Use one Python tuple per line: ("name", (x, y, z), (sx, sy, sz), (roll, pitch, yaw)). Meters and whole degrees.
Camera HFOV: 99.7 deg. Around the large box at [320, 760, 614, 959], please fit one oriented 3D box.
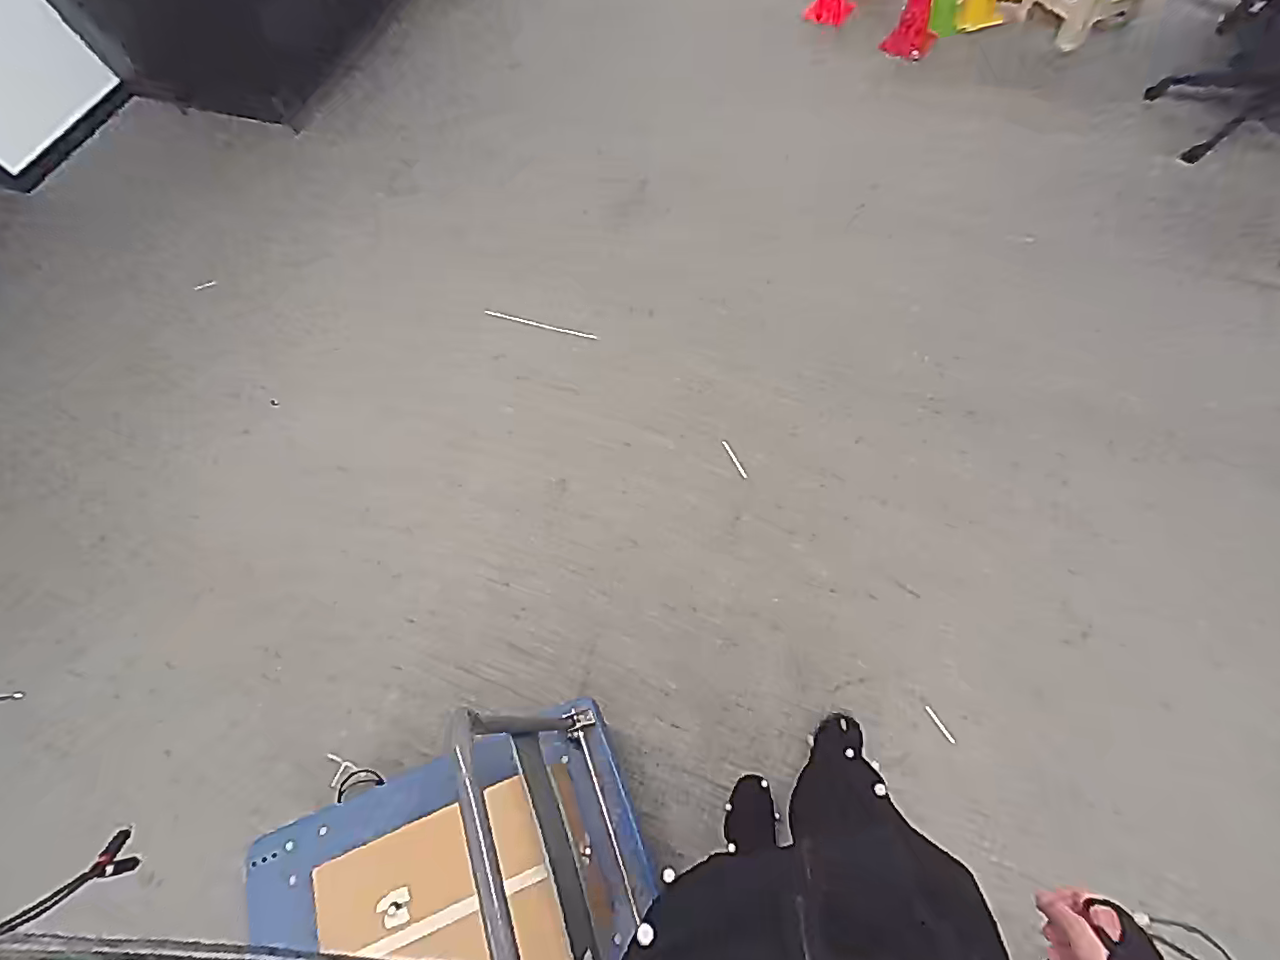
("large box", (-0.308, 0.790, 1.037), (0.408, 0.320, 0.320), (-24, 65, -3))
